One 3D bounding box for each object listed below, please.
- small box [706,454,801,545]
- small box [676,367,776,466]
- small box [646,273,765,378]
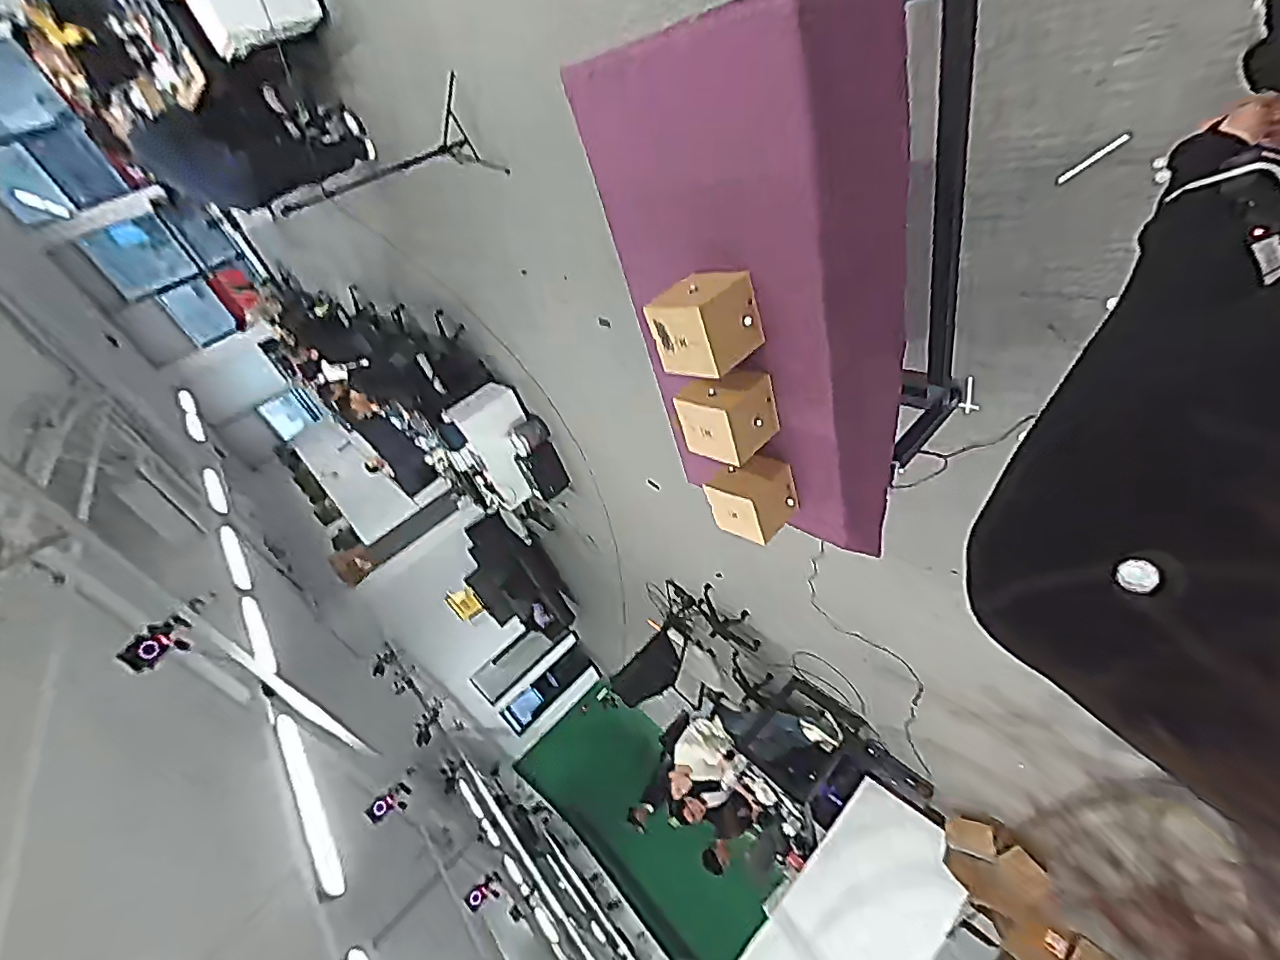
[{"bbox_3d":[0.318,0.045,1.500,0.179,0.176,0.168,22,145,47],"label":"small box"},{"bbox_3d":[0.224,-0.166,1.351,0.179,0.176,0.168,24,145,46],"label":"small box"},{"bbox_3d":[0.150,-0.349,1.212,0.179,0.176,0.168,20,143,48],"label":"small box"}]
